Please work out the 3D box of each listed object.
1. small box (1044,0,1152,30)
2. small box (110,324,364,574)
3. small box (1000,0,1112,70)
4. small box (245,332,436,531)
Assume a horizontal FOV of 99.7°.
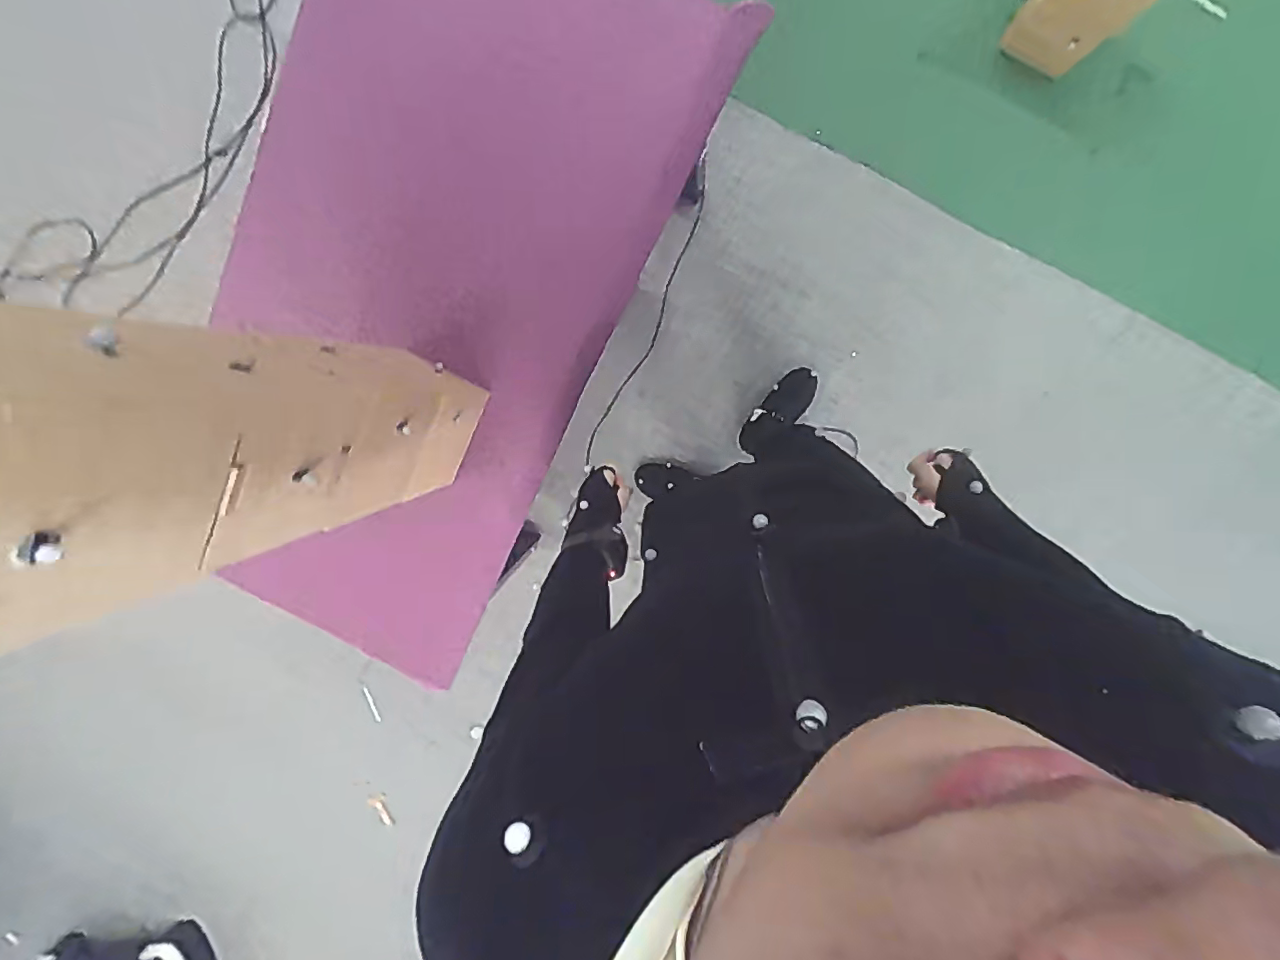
[{"bbox_3d":[0.984,-1.068,1.093,0.179,0.176,0.168,26,102,2],"label":"small box"},{"bbox_3d":[-0.411,-0.040,0.527,0.179,0.176,0.168,26,101,1],"label":"small box"},{"bbox_3d":[0.994,-1.099,1.251,0.179,0.176,0.168,28,103,1],"label":"small box"},{"bbox_3d":[-0.387,-0.066,0.686,0.168,0.176,0.179,27,102,1],"label":"small box"}]
